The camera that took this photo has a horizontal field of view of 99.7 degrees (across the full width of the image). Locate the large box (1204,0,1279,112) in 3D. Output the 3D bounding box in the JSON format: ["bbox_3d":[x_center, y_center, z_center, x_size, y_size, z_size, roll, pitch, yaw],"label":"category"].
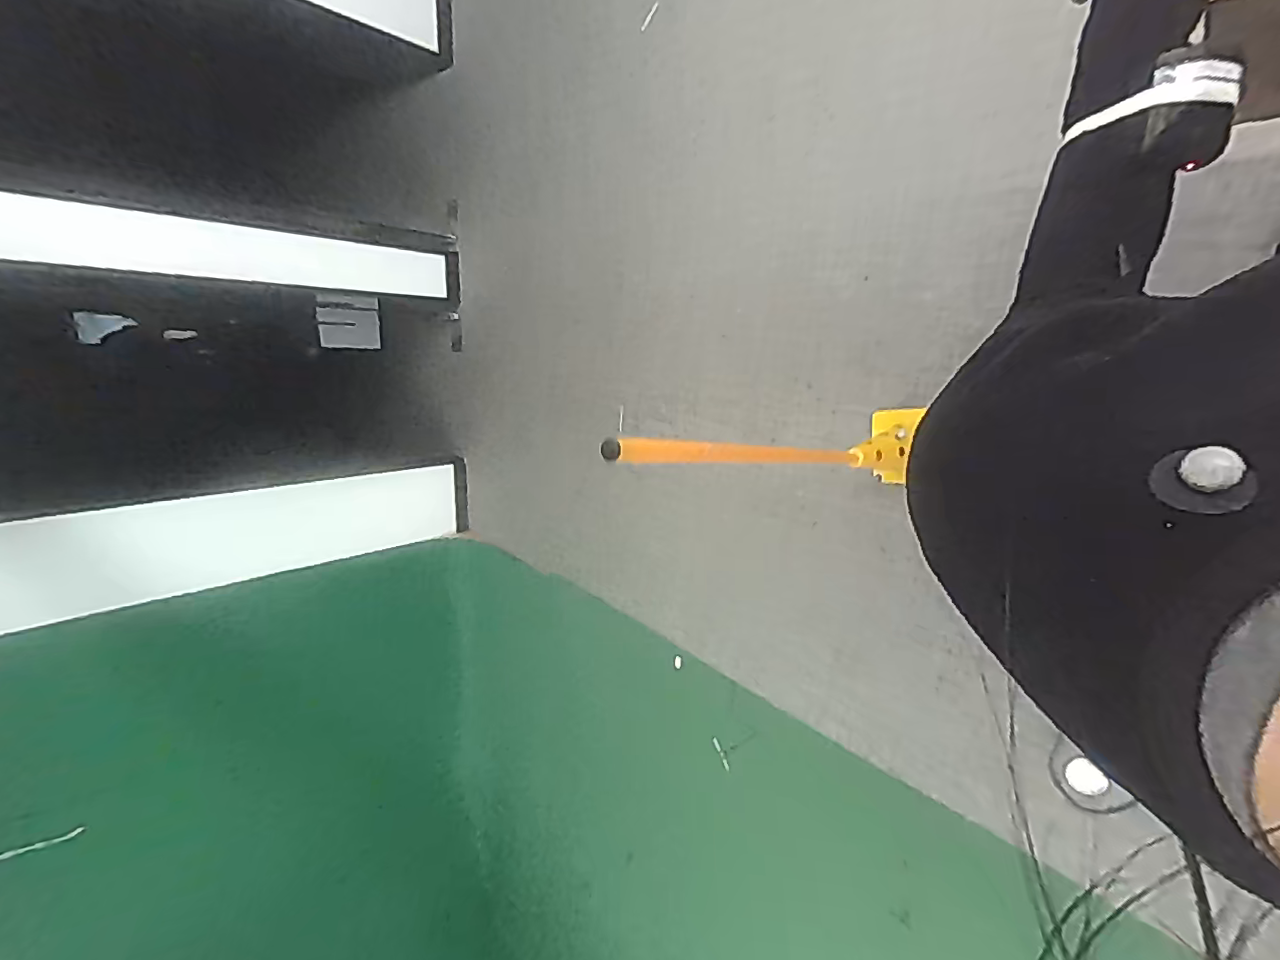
[{"bbox_3d":[0.616,-0.446,0.271,0.408,0.320,0.320,18,112,45],"label":"large box"}]
